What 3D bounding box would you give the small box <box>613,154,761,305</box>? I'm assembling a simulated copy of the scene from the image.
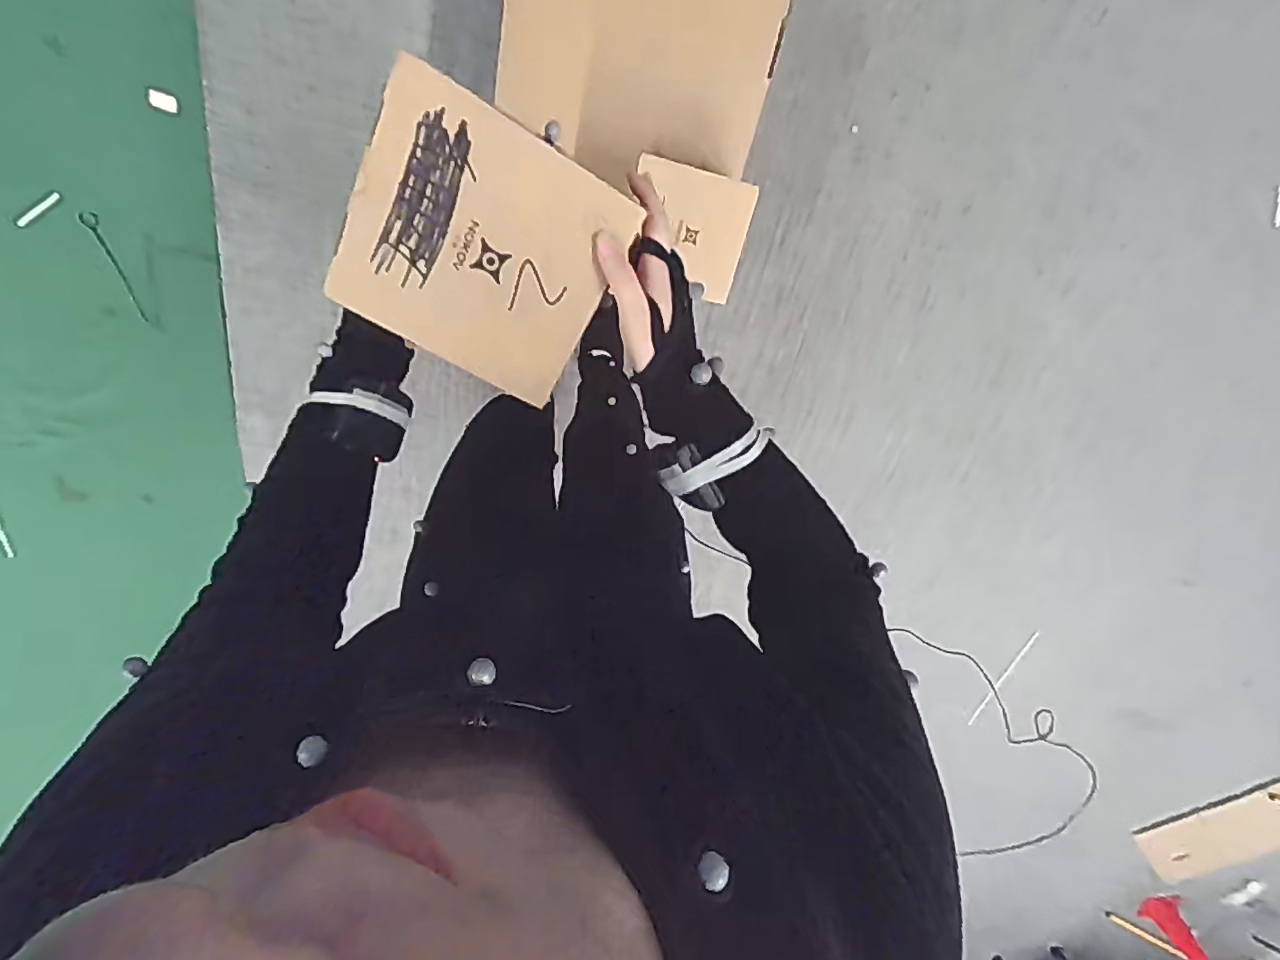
[{"bbox_3d":[0.061,-0.390,0.841,0.179,0.176,0.168,12,117,-10],"label":"small box"}]
